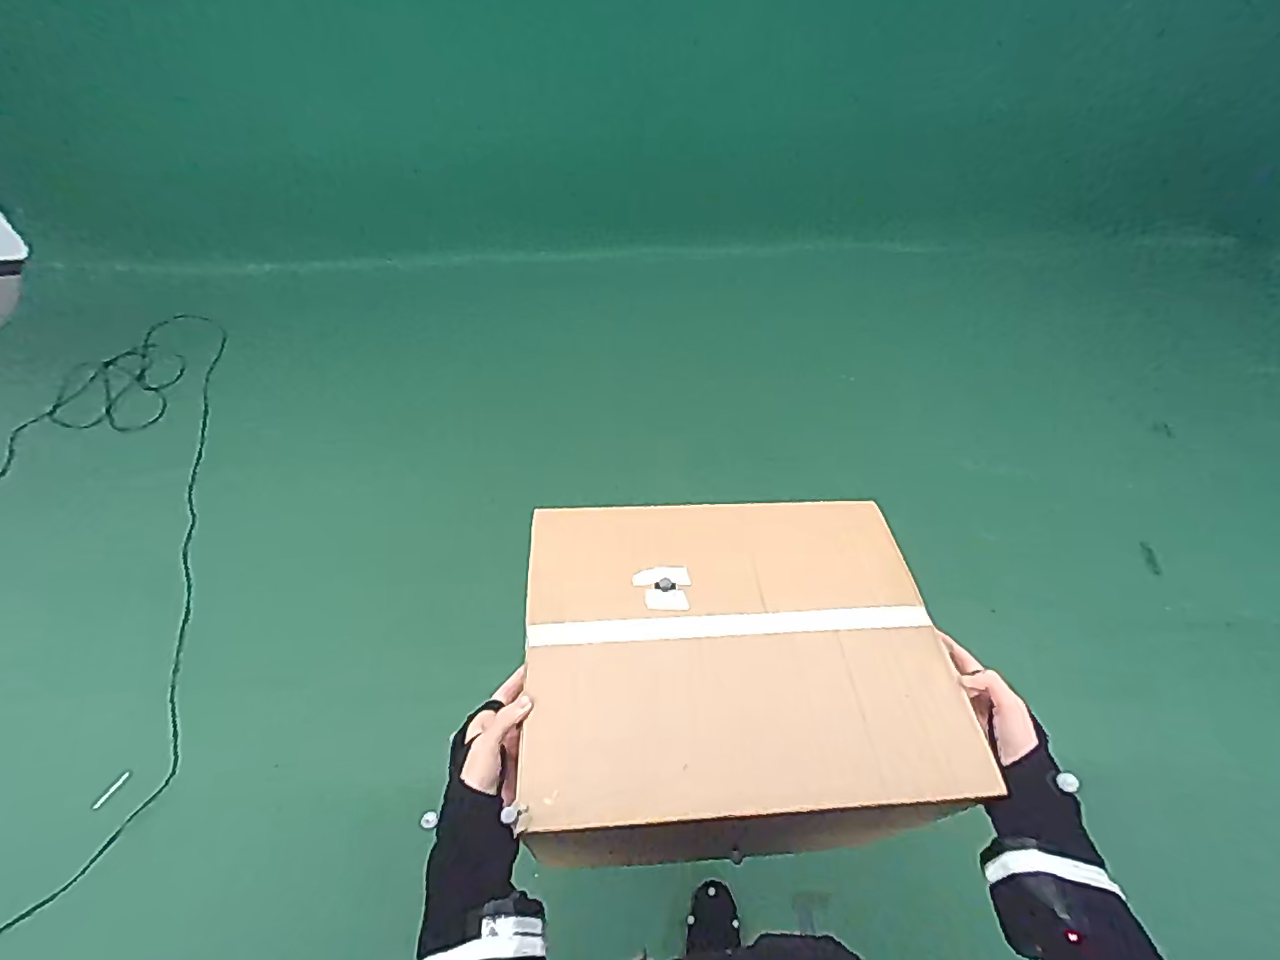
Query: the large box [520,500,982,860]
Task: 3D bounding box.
[{"bbox_3d":[0.084,0.246,0.657,0.408,0.320,0.320,-2,50,-4],"label":"large box"}]
